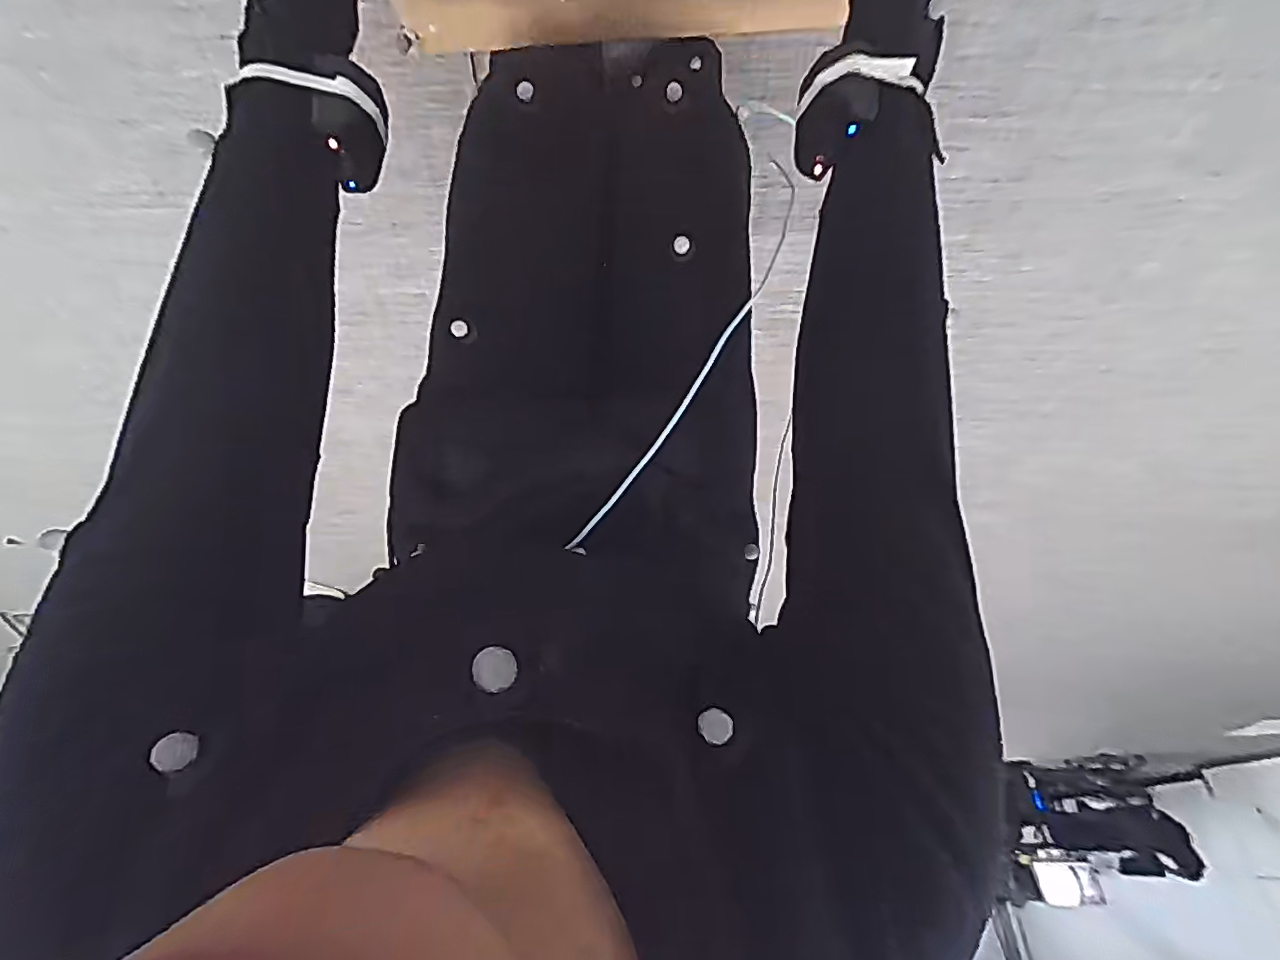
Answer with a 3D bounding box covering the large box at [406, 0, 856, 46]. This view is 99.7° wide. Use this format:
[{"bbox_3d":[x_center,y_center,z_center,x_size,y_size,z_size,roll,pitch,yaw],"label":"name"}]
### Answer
[{"bbox_3d":[-0.013,-0.619,0.453,0.408,0.320,0.320,-1,144,2],"label":"large box"}]
